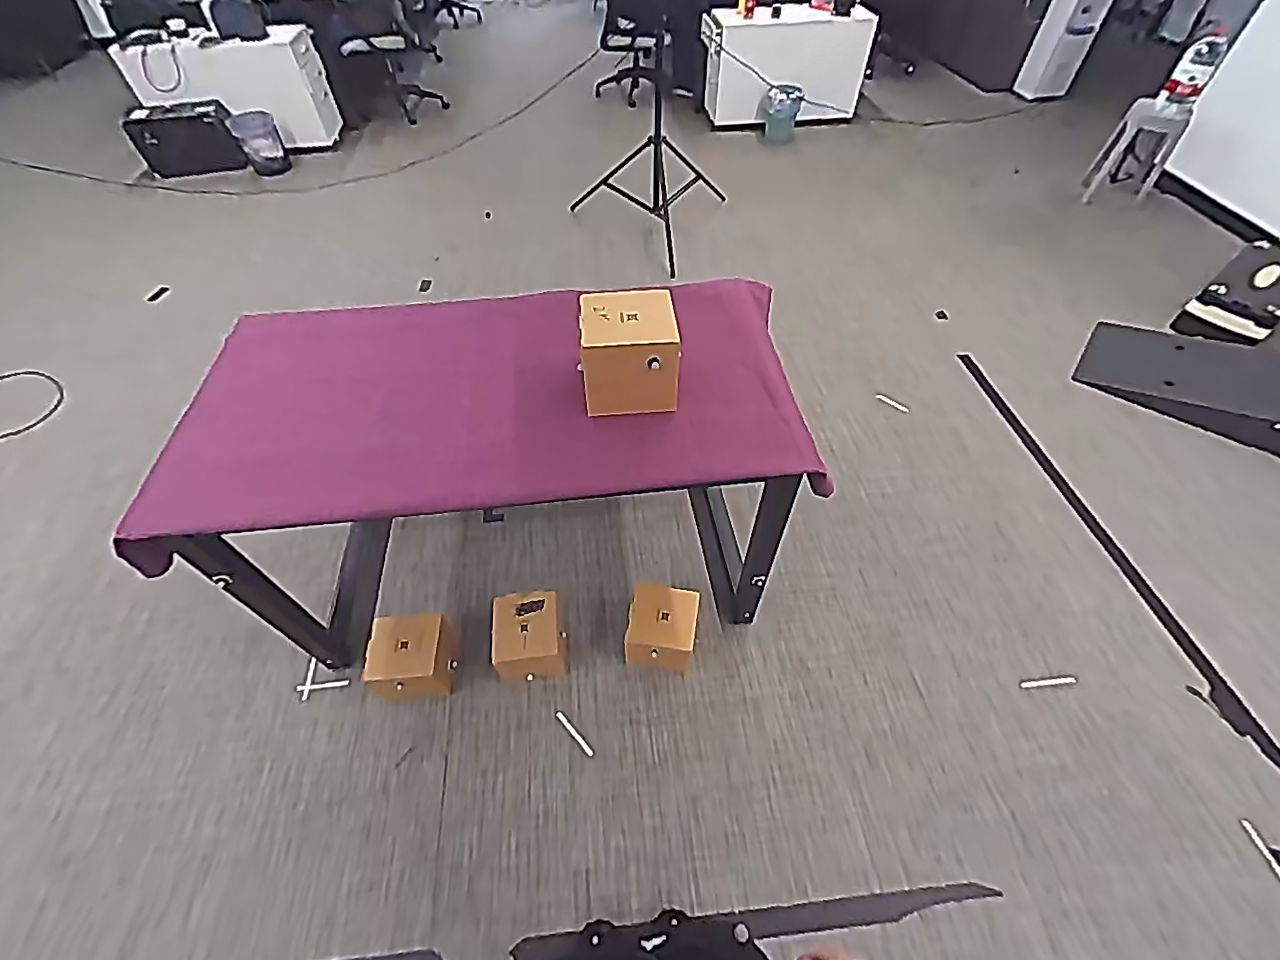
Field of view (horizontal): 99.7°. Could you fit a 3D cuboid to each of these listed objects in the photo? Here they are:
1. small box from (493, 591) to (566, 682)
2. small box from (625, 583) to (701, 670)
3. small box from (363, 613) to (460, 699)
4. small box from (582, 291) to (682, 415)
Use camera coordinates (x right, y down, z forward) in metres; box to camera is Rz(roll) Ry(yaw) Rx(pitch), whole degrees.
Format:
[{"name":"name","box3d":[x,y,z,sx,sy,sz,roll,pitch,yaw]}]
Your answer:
[{"name":"small box","box3d":[-0.291,0.423,1.454,0.168,0.176,0.179,-6,53,-4]},{"name":"small box","box3d":[0.064,0.402,1.467,0.179,0.176,0.168,7,53,8]},{"name":"small box","box3d":[-0.593,0.467,1.425,0.179,0.176,0.168,-3,52,-3]},{"name":"small box","box3d":[-0.019,-0.242,1.045,0.179,0.176,0.168,-4,51,-2]}]
